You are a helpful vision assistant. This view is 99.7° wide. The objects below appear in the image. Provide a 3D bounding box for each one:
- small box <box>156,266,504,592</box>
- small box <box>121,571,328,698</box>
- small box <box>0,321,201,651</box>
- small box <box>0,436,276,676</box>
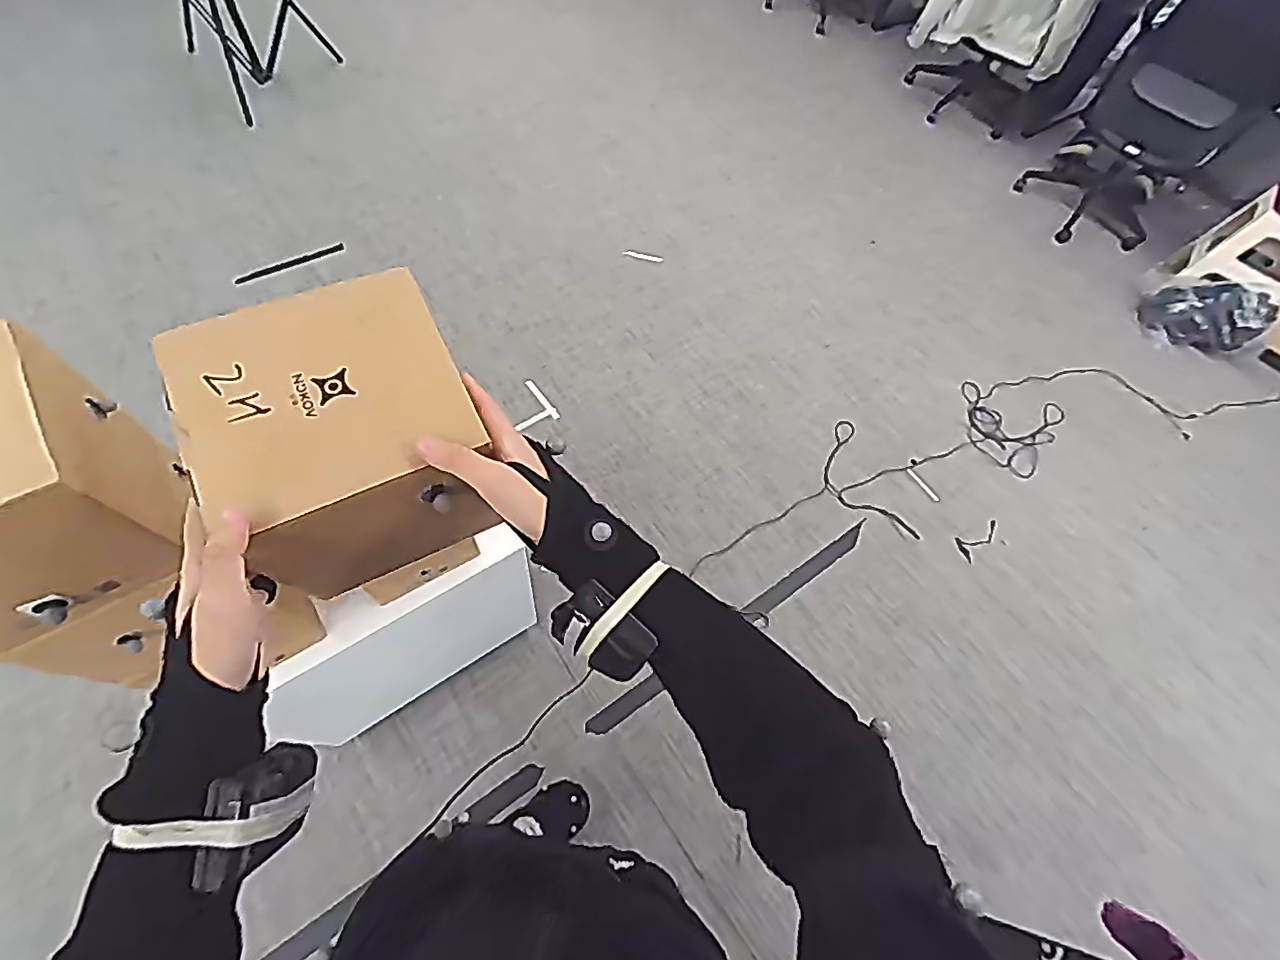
[{"bbox_3d":[-0.219,-0.031,0.433,0.179,0.176,0.168,-24,73,-16],"label":"small box"},{"bbox_3d":[-0.558,0.165,0.724,0.168,0.176,0.179,-30,69,-20],"label":"small box"},{"bbox_3d":[-0.516,0.013,0.440,0.168,0.176,0.179,-31,71,-21],"label":"small box"},{"bbox_3d":[-0.536,0.090,0.581,0.168,0.176,0.179,-31,70,-21],"label":"small box"}]
